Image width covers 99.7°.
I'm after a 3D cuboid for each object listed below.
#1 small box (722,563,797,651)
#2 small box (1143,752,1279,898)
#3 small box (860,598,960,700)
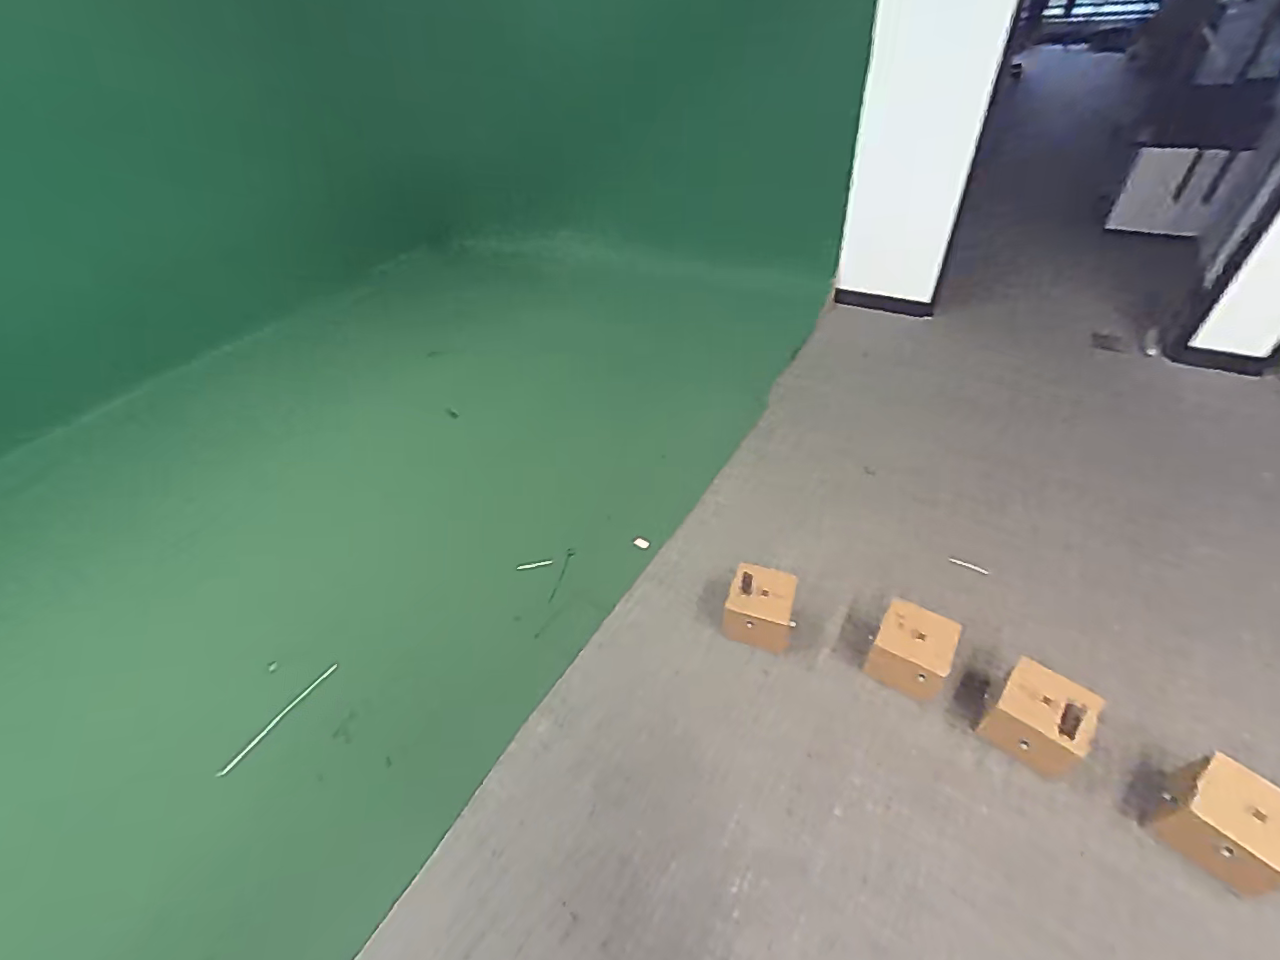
[{"bbox_3d":[0.344,0.372,1.567,0.179,0.176,0.168,12,49,19],"label":"small box"},{"bbox_3d":[1.198,0.709,1.108,0.168,0.176,0.179,-34,51,-23],"label":"small box"},{"bbox_3d":[0.709,0.453,1.431,0.179,0.176,0.168,23,52,28],"label":"small box"}]
